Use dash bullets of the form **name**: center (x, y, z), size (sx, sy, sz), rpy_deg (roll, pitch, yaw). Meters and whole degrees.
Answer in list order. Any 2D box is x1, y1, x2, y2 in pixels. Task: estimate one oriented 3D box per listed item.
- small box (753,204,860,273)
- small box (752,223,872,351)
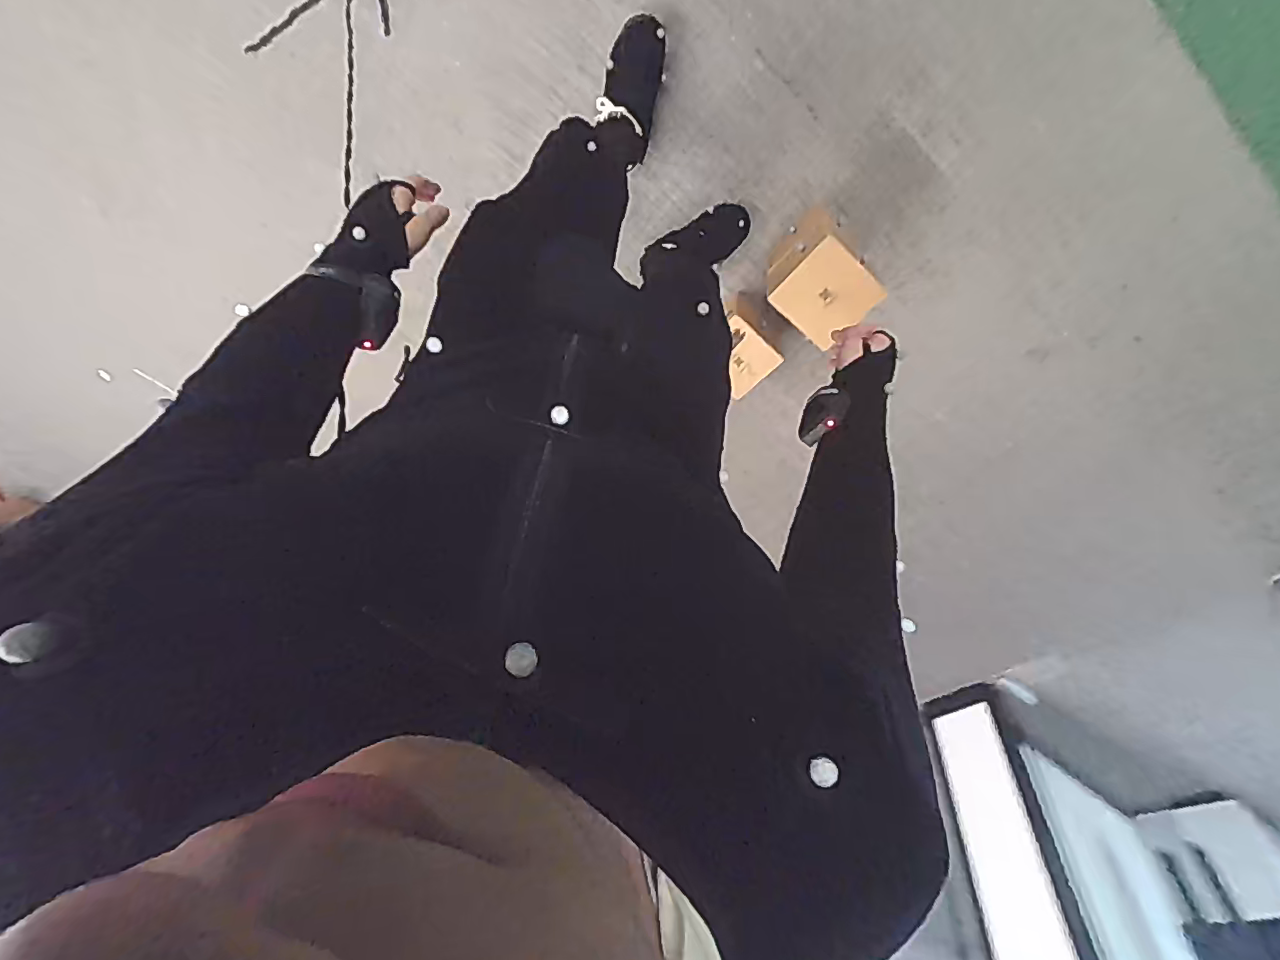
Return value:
- **small box**: center (0.381, -0.513, 1.259), size (0.179, 0.176, 0.168), rpy_deg (40, 127, -19)
- **small box**: center (0.352, -0.411, 1.135), size (0.179, 0.176, 0.168), rpy_deg (37, 126, -18)
